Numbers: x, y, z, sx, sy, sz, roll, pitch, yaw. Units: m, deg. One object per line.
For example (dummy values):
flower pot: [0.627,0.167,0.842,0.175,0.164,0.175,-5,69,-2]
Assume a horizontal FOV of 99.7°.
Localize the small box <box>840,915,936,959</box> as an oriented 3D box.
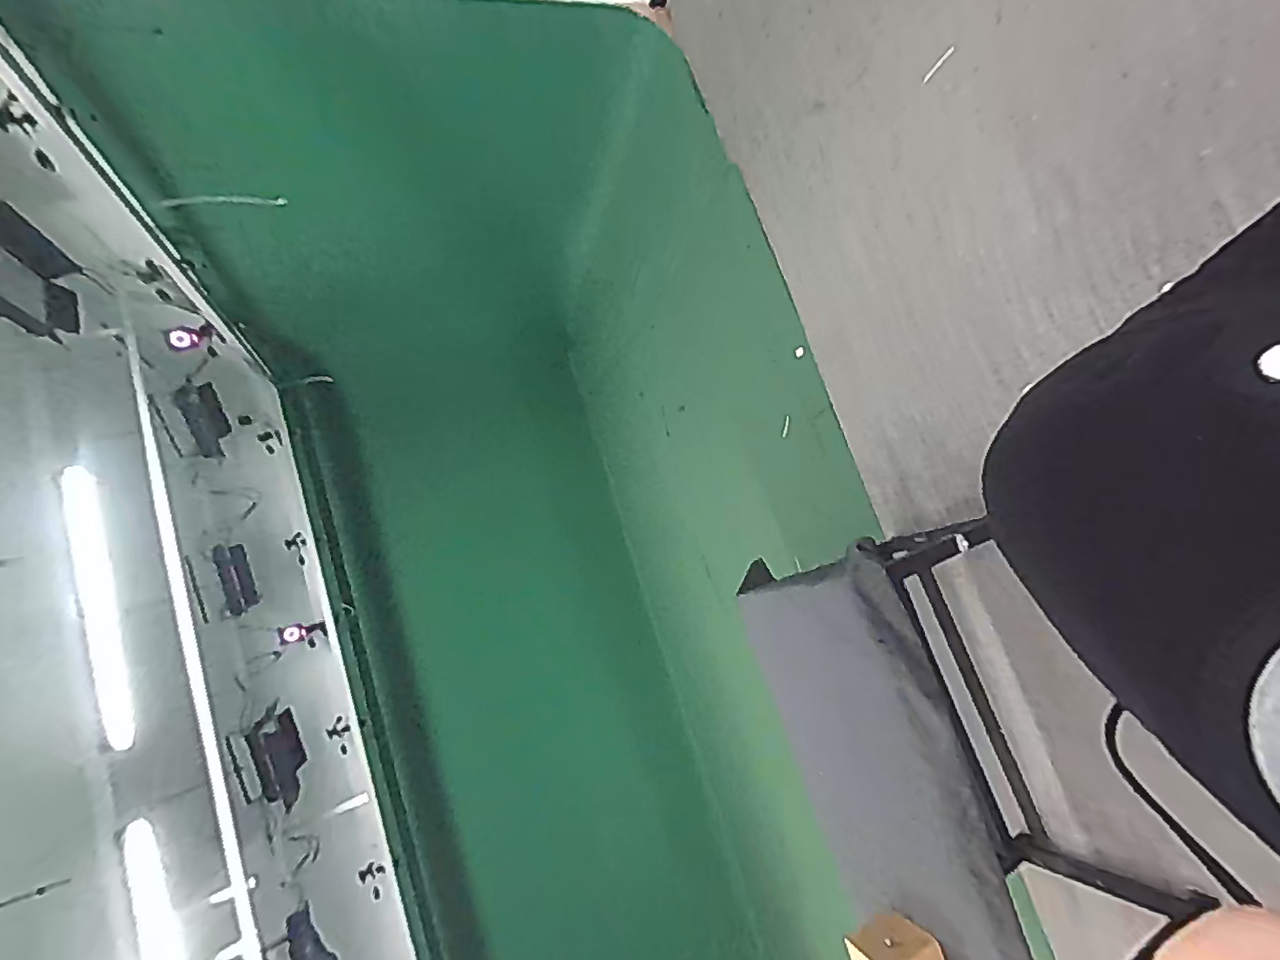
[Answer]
small box: [0.667,1.294,1.411,0.179,0.176,0.168,143,111,-67]
